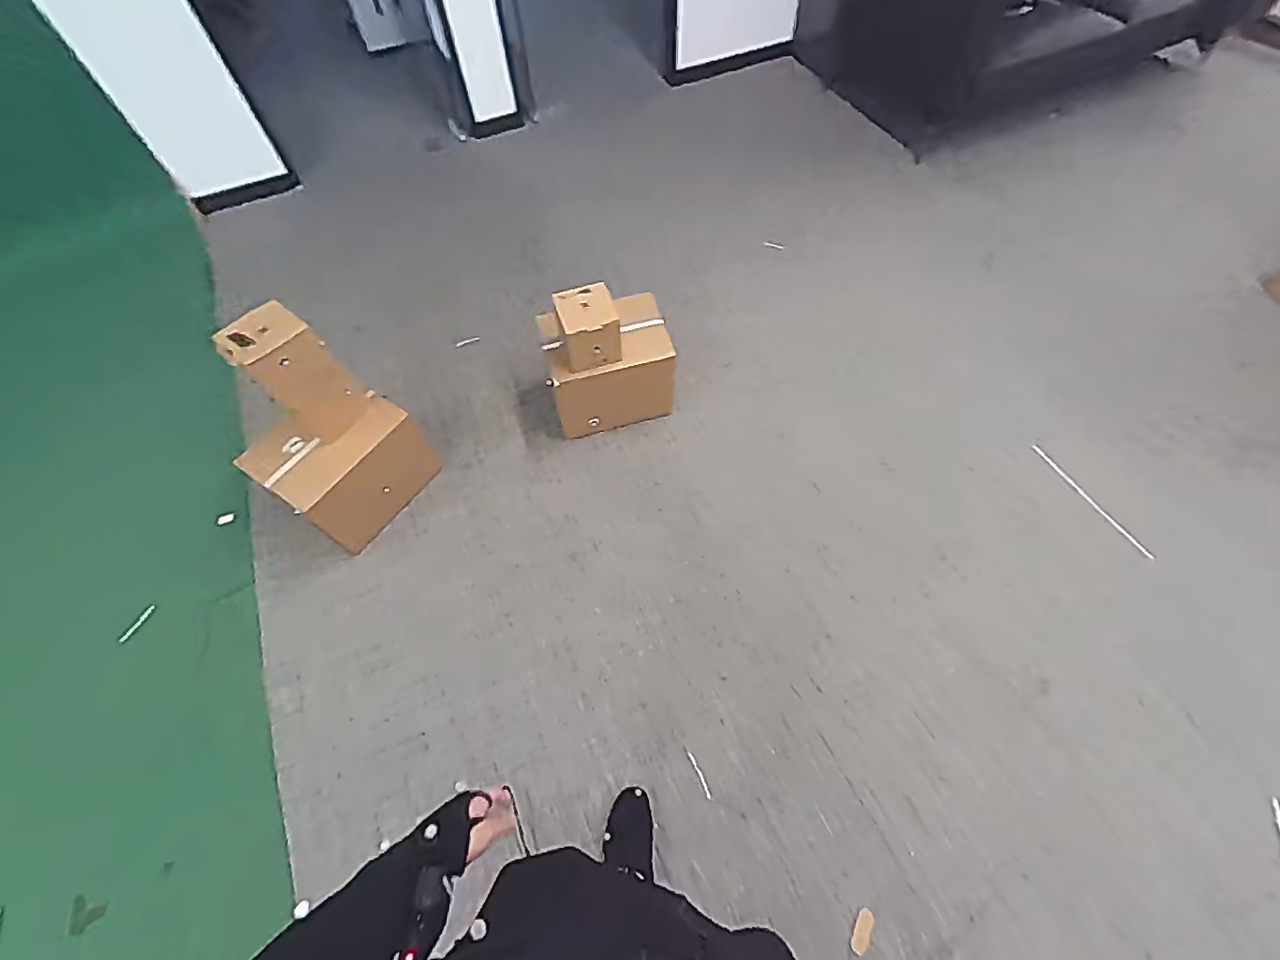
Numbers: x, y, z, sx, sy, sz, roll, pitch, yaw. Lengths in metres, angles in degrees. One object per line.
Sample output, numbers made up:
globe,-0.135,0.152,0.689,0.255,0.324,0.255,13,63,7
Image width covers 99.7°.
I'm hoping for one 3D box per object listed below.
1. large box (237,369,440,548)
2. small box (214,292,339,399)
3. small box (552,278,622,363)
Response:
large box,-0.922,-0.065,1.712,0.320,0.320,0.408,29,66,17
small box,-0.930,-0.342,1.398,0.168,0.176,0.179,36,67,19
small box,-0.158,-0.478,1.650,0.168,0.176,0.179,-16,63,-8
